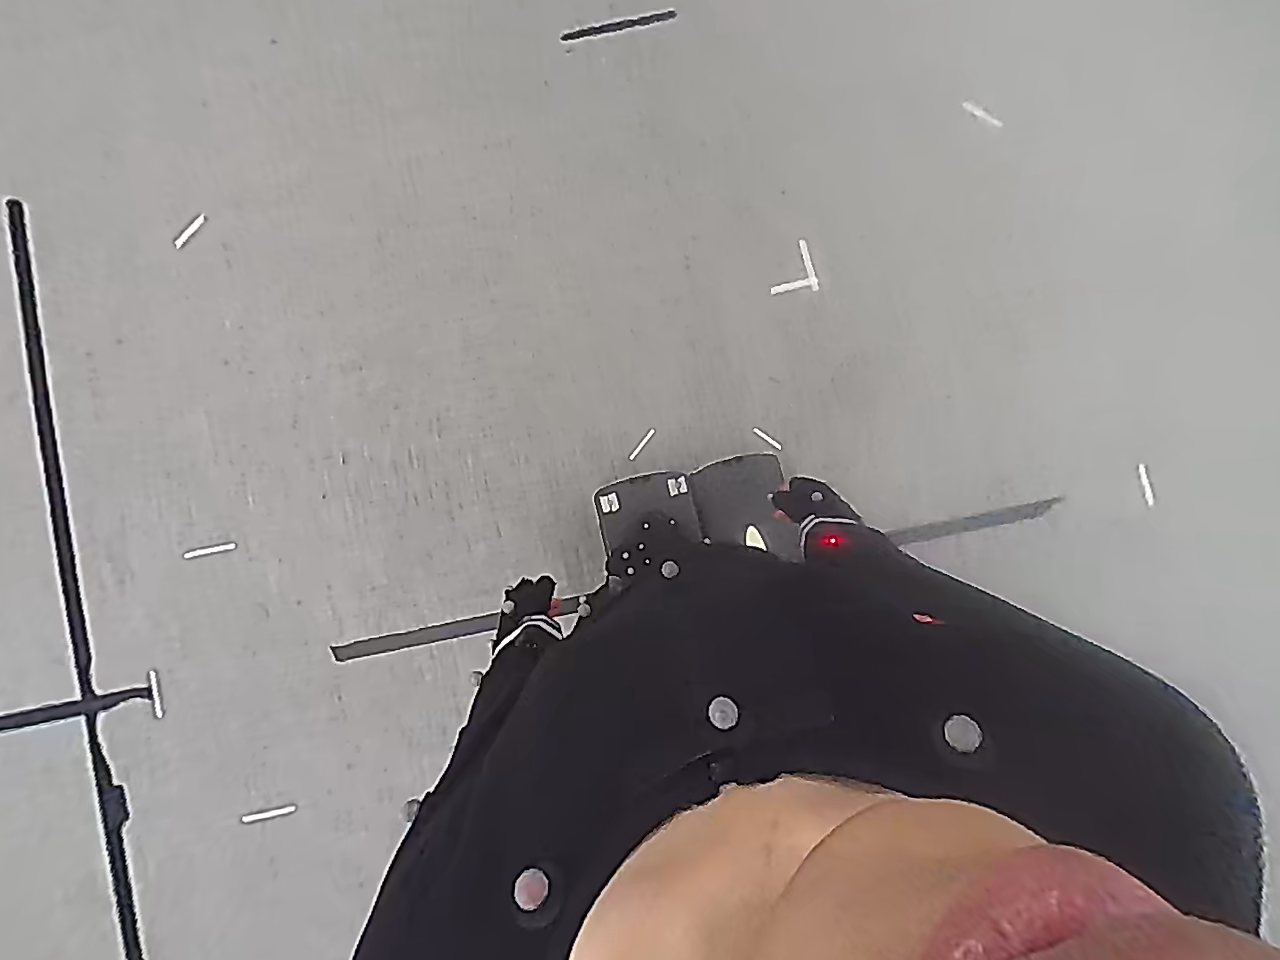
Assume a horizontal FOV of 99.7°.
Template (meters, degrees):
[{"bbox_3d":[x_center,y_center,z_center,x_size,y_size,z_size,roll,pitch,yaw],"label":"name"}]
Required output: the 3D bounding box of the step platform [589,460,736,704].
[{"bbox_3d":[0.061,0.285,1.579,0.286,0.204,0.684,-14,85,-2],"label":"step platform"}]
